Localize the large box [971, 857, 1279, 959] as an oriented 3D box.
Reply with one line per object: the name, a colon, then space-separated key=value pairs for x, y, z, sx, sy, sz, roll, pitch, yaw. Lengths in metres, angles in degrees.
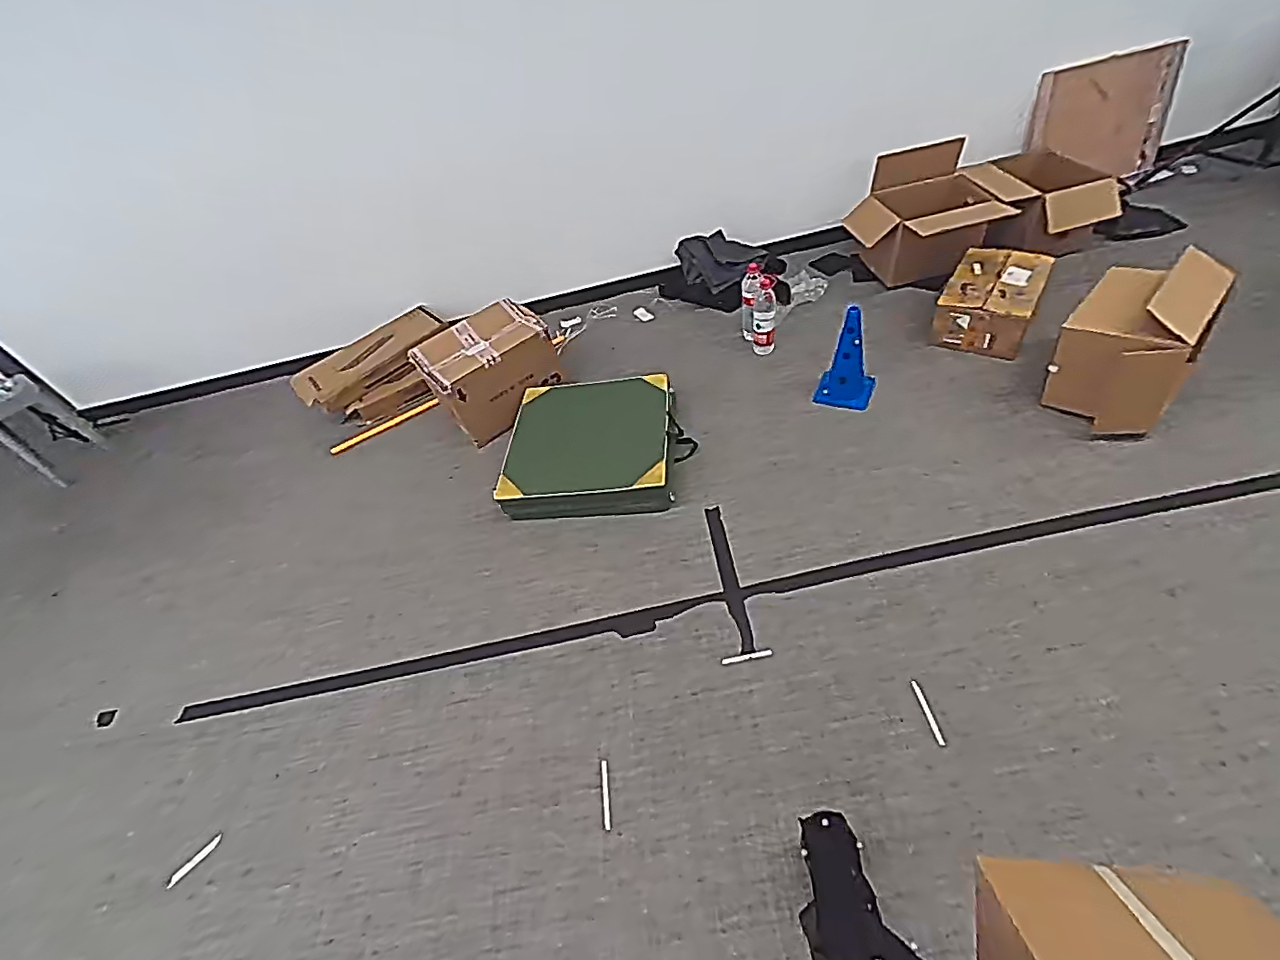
large box: x=0.581 y=0.683 z=0.544 sx=0.320 sy=0.408 sz=0.320 roll=-3 pitch=92 yaw=11
